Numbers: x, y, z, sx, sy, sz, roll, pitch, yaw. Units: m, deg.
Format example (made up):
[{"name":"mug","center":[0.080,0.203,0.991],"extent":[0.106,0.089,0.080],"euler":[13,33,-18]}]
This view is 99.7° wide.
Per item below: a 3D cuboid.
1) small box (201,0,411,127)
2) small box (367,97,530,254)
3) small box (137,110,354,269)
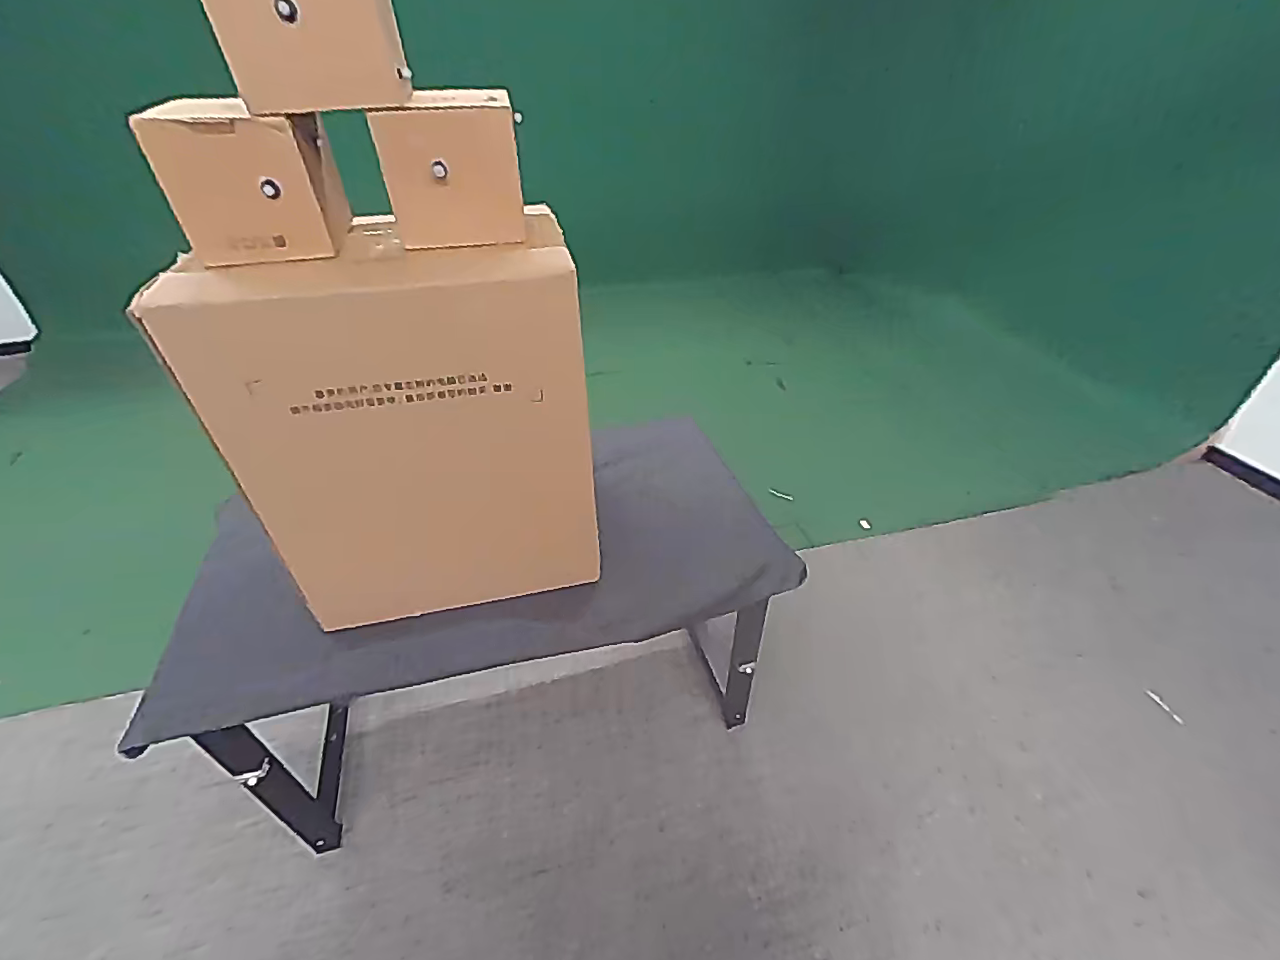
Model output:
[{"name":"small box","center":[-0.392,-0.543,0.654],"extent":[0.179,0.176,0.168],"euler":[-11,42,-9]},{"name":"small box","center":[-0.264,-0.440,0.784],"extent":[0.179,0.176,0.168],"euler":[-9,42,-8]},{"name":"small box","center":[-0.513,-0.397,0.740],"extent":[0.168,0.176,0.179],"euler":[-9,40,-11]}]
